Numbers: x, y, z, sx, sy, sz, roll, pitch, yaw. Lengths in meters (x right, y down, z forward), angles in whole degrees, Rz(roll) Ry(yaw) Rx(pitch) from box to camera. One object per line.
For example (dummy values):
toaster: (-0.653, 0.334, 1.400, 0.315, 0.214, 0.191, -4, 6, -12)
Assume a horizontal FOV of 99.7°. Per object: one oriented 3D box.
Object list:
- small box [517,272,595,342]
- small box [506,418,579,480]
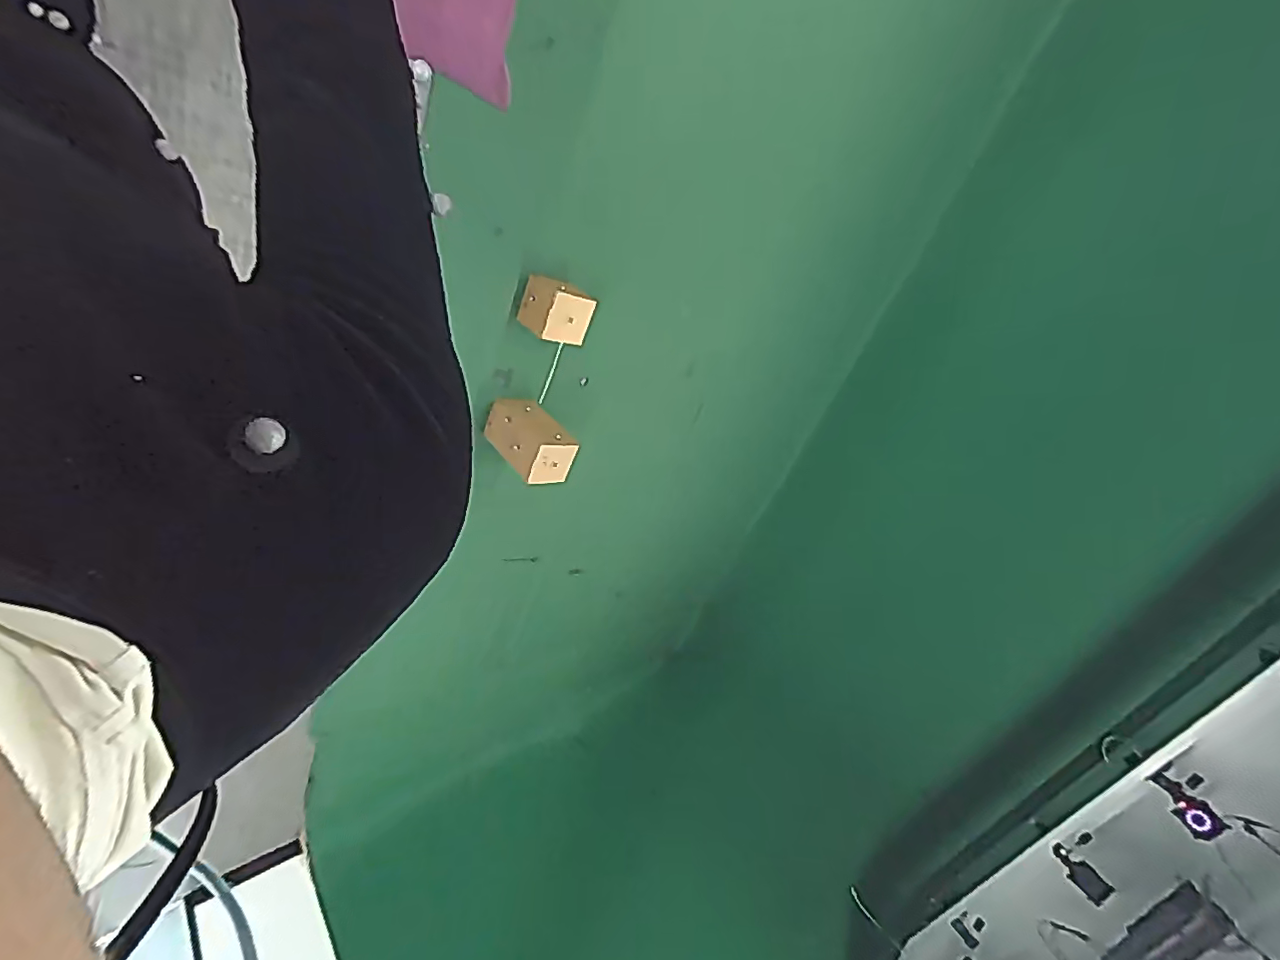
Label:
small box: (-0.294, -0.598, 1.870, 0.179, 0.176, 0.168, -5, 128, -46)
small box: (-0.362, -0.116, 1.991, 0.179, 0.176, 0.168, -4, 127, -48)
